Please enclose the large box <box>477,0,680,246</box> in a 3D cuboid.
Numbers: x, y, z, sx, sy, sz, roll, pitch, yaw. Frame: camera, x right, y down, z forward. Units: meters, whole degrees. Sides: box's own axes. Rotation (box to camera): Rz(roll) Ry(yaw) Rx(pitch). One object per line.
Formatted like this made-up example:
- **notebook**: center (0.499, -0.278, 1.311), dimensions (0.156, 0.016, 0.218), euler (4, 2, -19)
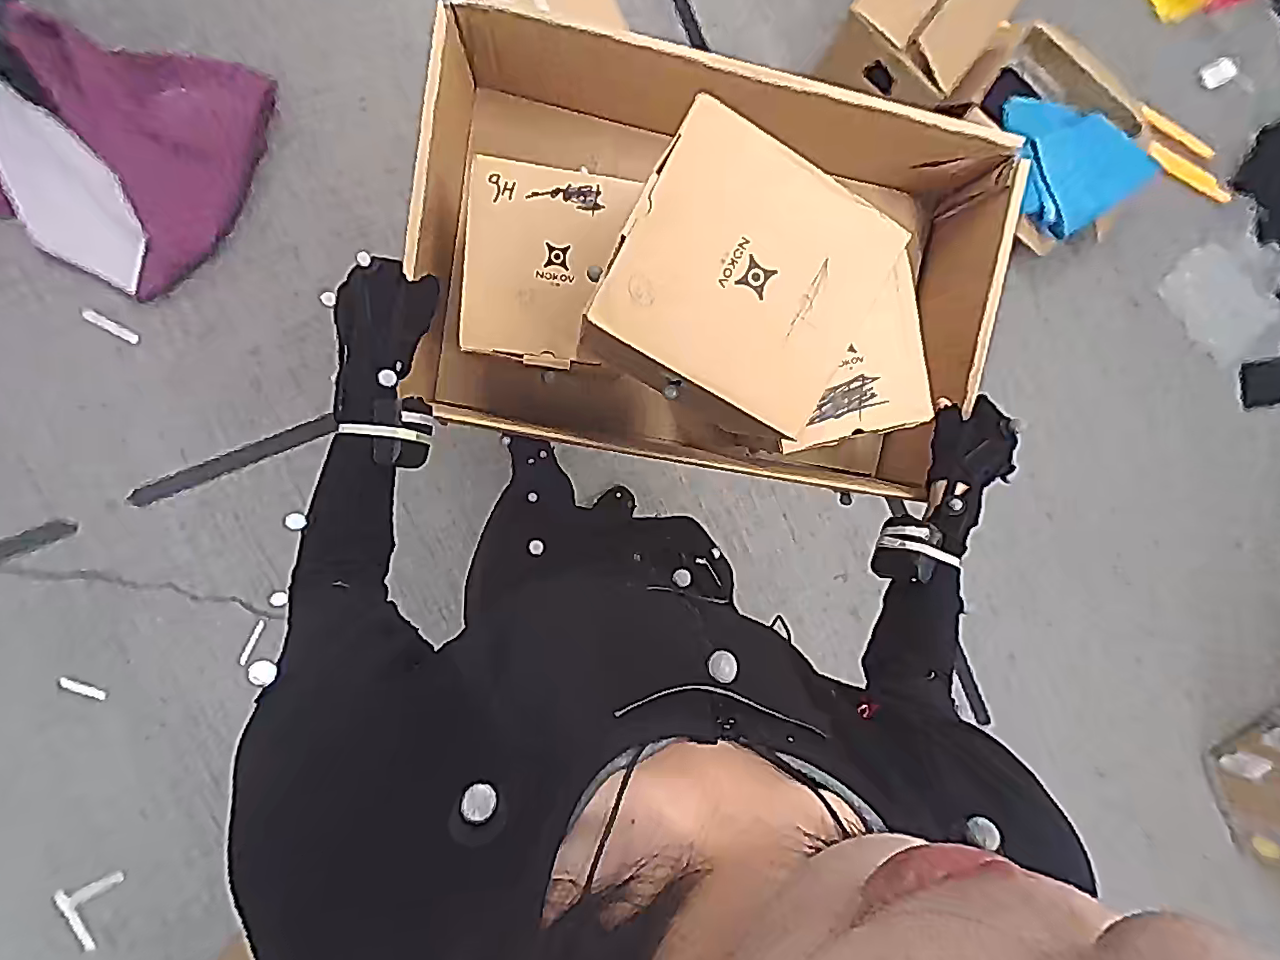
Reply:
- **large box**: center (-0.154, -0.881, 1.344), dimensions (0.320, 0.320, 0.408), euler (-27, 95, -6)
